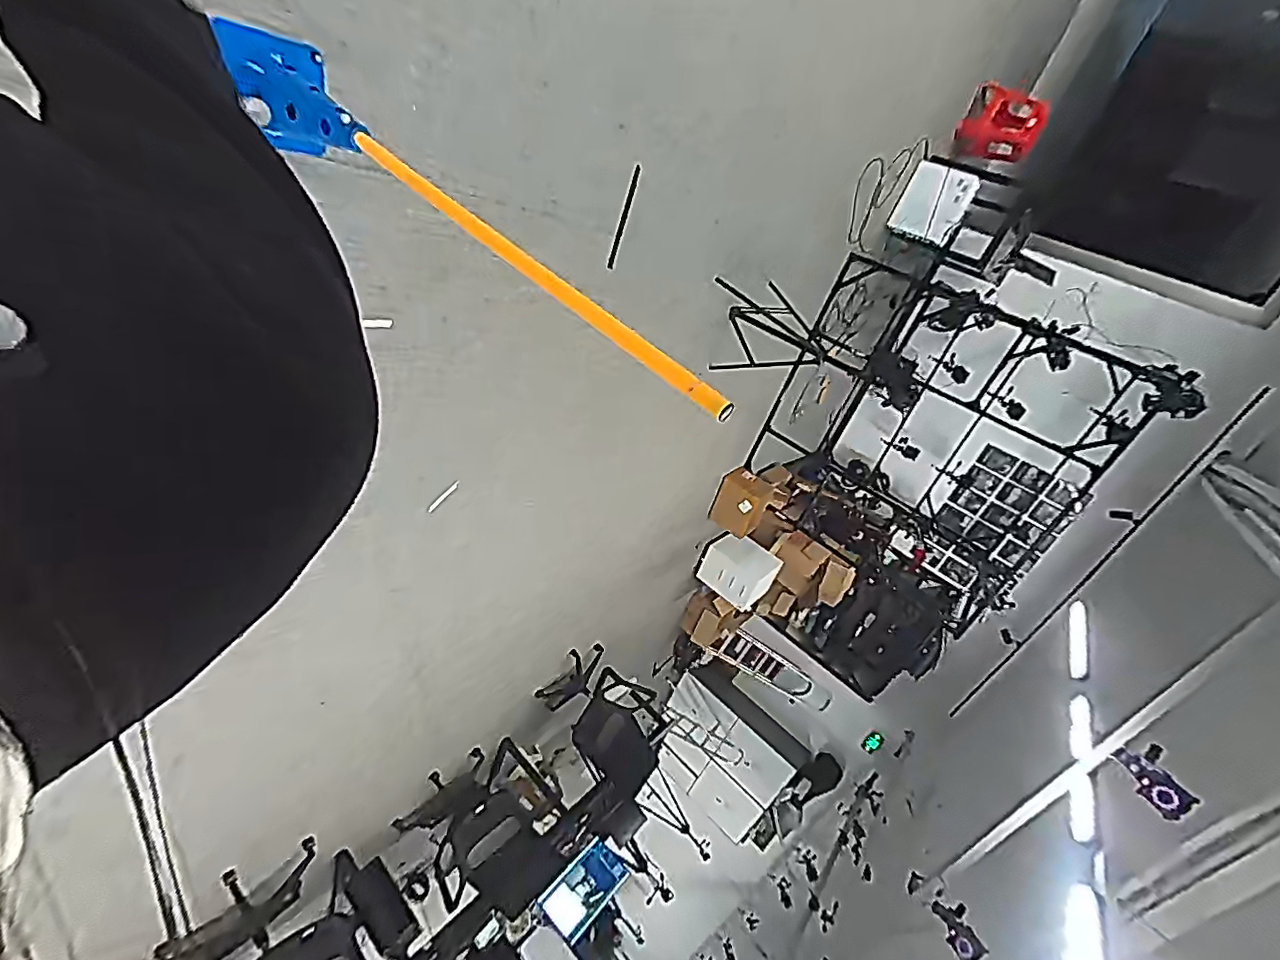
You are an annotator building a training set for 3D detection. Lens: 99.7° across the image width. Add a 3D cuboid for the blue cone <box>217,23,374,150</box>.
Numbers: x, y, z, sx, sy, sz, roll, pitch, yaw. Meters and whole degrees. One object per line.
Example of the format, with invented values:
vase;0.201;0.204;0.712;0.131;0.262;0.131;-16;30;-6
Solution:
blue cone;-0.616;-0.702;1.025;0.193;0.380;0.192;-22;139;-48
